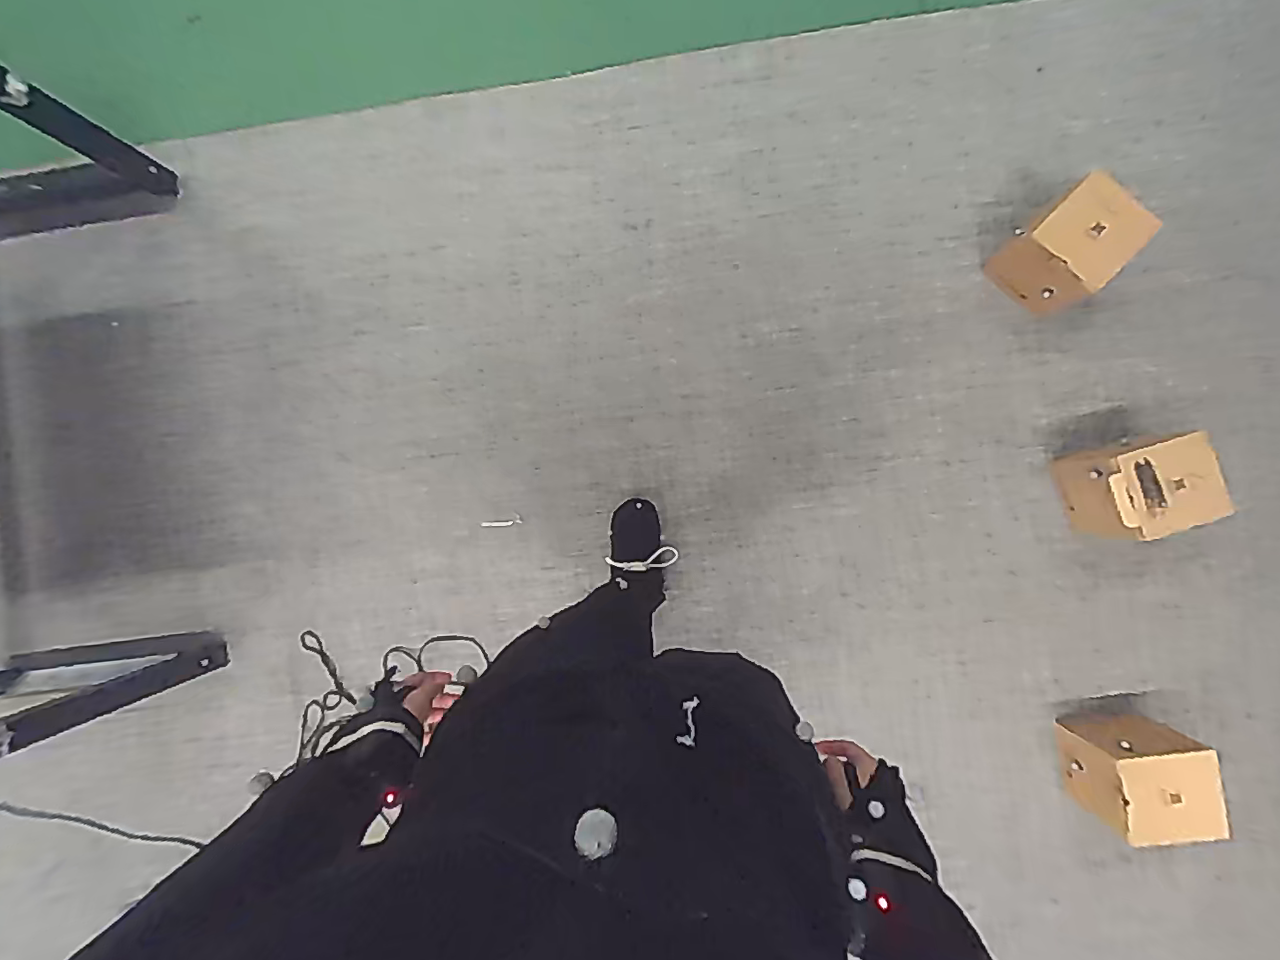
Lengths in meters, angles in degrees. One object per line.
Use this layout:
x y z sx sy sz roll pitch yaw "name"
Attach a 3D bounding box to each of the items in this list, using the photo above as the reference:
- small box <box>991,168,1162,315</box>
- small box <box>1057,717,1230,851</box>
0.851 -0.462 1.082 0.168 0.176 0.179 44 91 2 "small box"
0.975 0.584 1.061 0.179 0.176 0.168 -8 89 4 "small box"
